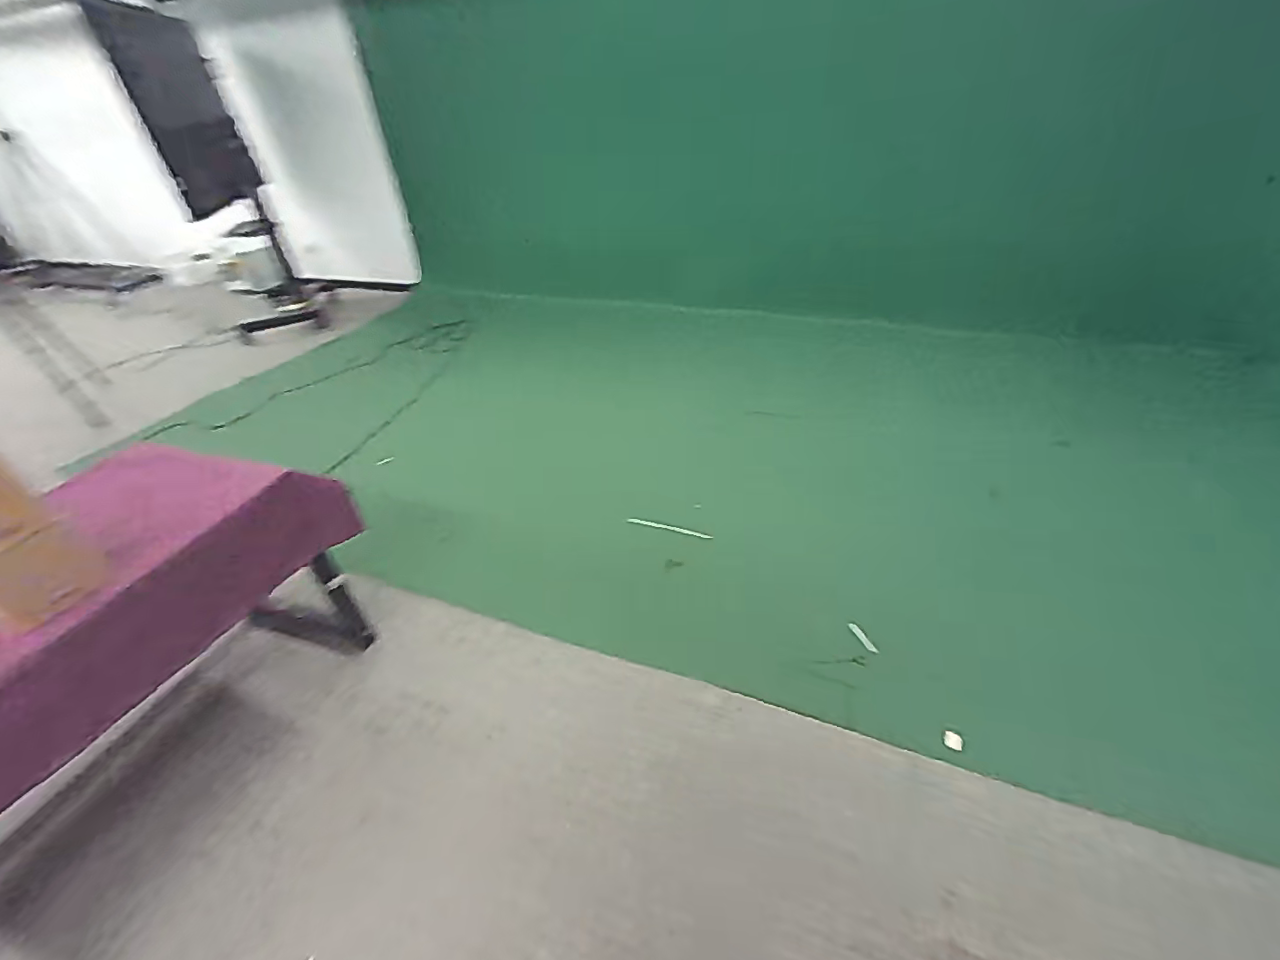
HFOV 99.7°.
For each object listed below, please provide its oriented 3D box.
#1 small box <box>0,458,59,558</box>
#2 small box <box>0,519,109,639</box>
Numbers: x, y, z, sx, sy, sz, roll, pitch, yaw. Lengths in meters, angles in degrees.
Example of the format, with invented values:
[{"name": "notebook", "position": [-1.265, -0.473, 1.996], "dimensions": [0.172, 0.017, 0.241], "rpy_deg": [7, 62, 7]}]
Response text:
[{"name": "small box", "position": [-1.271, 0.057, 1.005], "dimensions": [0.179, 0.176, 0.168], "rpy_deg": [11, 40, 19]}, {"name": "small box", "position": [-1.249, 0.188, 1.099], "dimensions": [0.168, 0.176, 0.179], "rpy_deg": [10, 38, 20]}]
